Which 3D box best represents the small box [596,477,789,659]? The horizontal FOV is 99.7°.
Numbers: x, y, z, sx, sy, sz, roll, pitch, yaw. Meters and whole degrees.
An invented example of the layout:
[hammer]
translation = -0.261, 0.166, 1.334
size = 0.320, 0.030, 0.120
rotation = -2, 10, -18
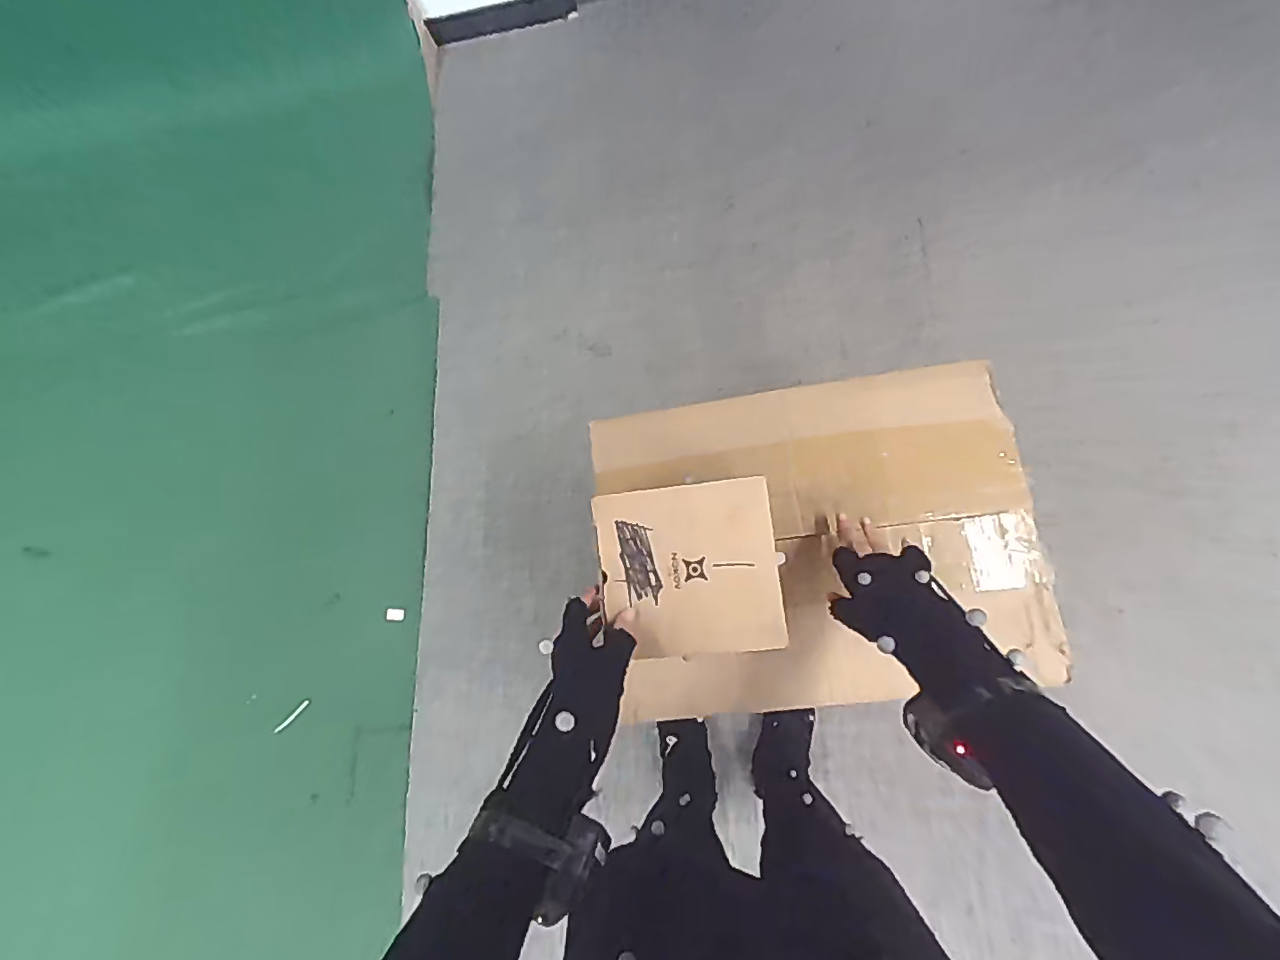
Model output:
[small box]
translation = 0.061, 0.095, 0.605
size = 0.179, 0.176, 0.168
rotation = -7, 84, 8
